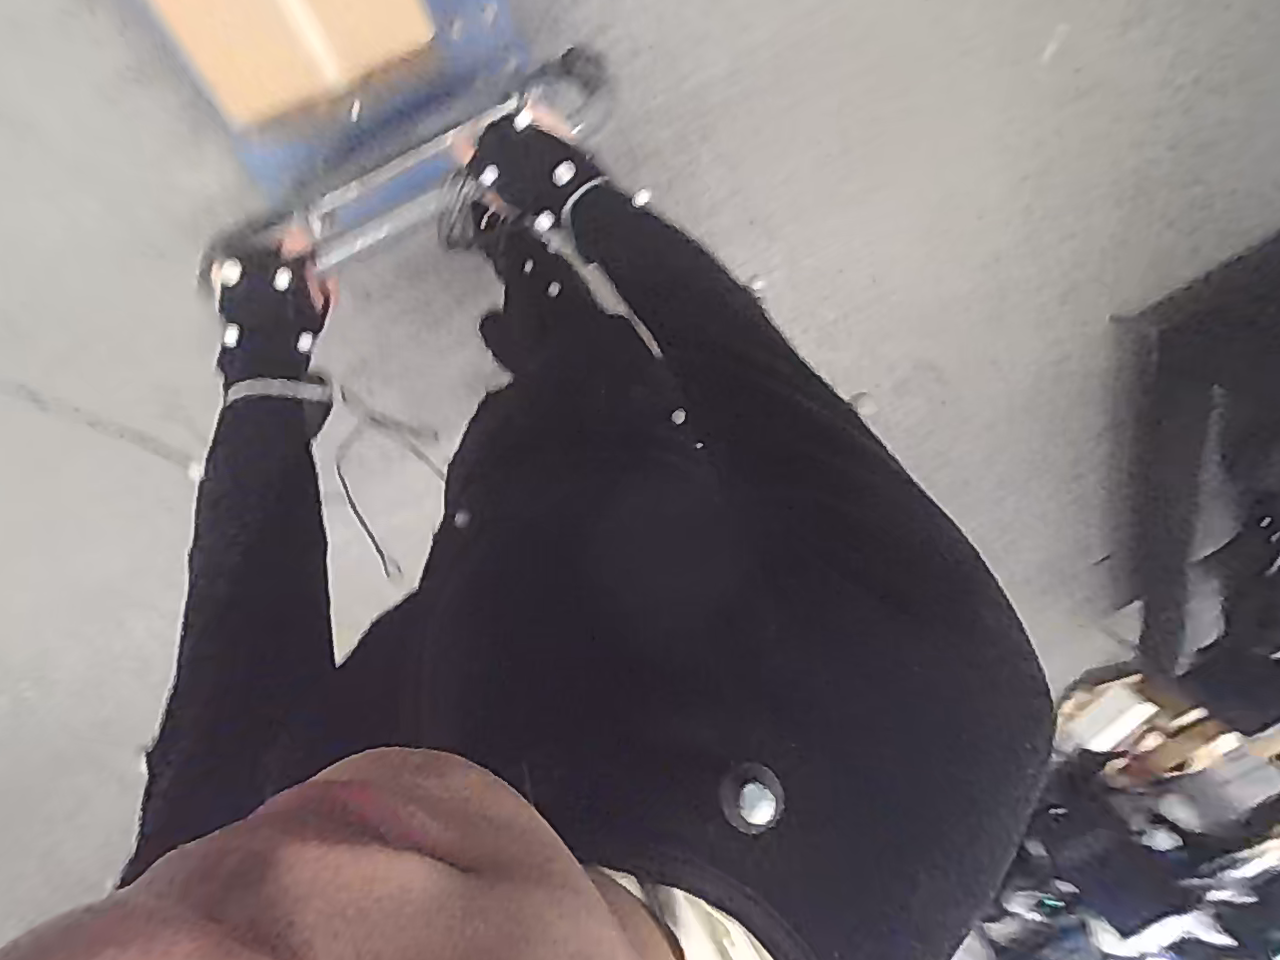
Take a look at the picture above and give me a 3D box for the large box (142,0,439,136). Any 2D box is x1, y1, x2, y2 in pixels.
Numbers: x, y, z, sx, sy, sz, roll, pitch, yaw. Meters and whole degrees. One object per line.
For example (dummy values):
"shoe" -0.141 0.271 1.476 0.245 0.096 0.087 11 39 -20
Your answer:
"large box" -0.538 -0.776 0.767 0.320 0.320 0.408 -26 123 -2
